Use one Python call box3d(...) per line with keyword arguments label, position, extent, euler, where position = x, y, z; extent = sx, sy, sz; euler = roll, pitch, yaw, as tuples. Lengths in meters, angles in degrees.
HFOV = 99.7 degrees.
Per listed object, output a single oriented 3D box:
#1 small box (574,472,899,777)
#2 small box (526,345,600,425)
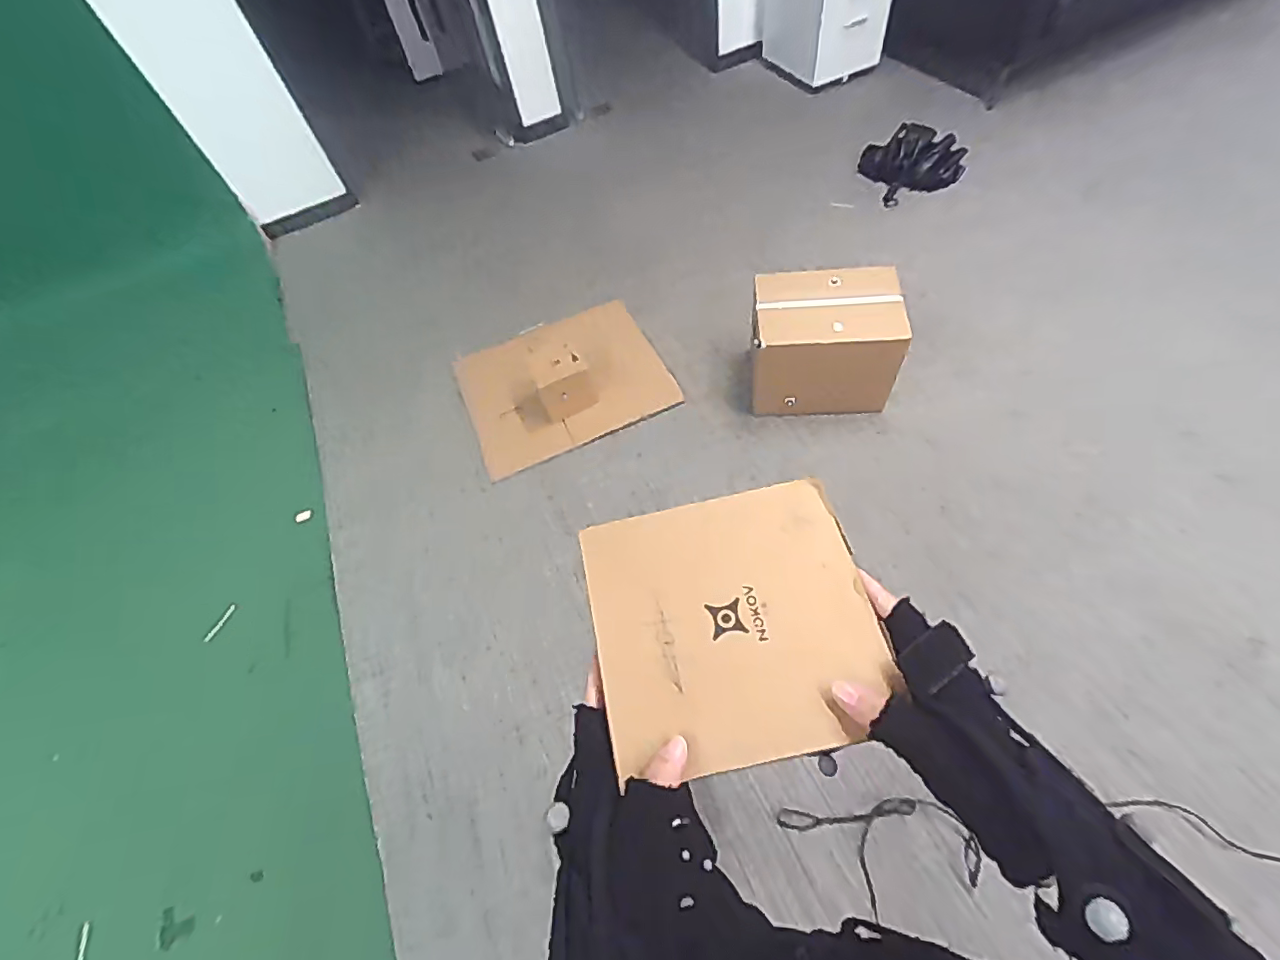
box3d(label="small box", position=(0.060, 0.120, 0.420), extent=(0.179, 0.176, 0.168), euler=(-14, 60, 0))
box3d(label="small box", position=(-0.256, -0.315, 1.824), extent=(0.179, 0.176, 0.168), euler=(-29, 55, -8))
